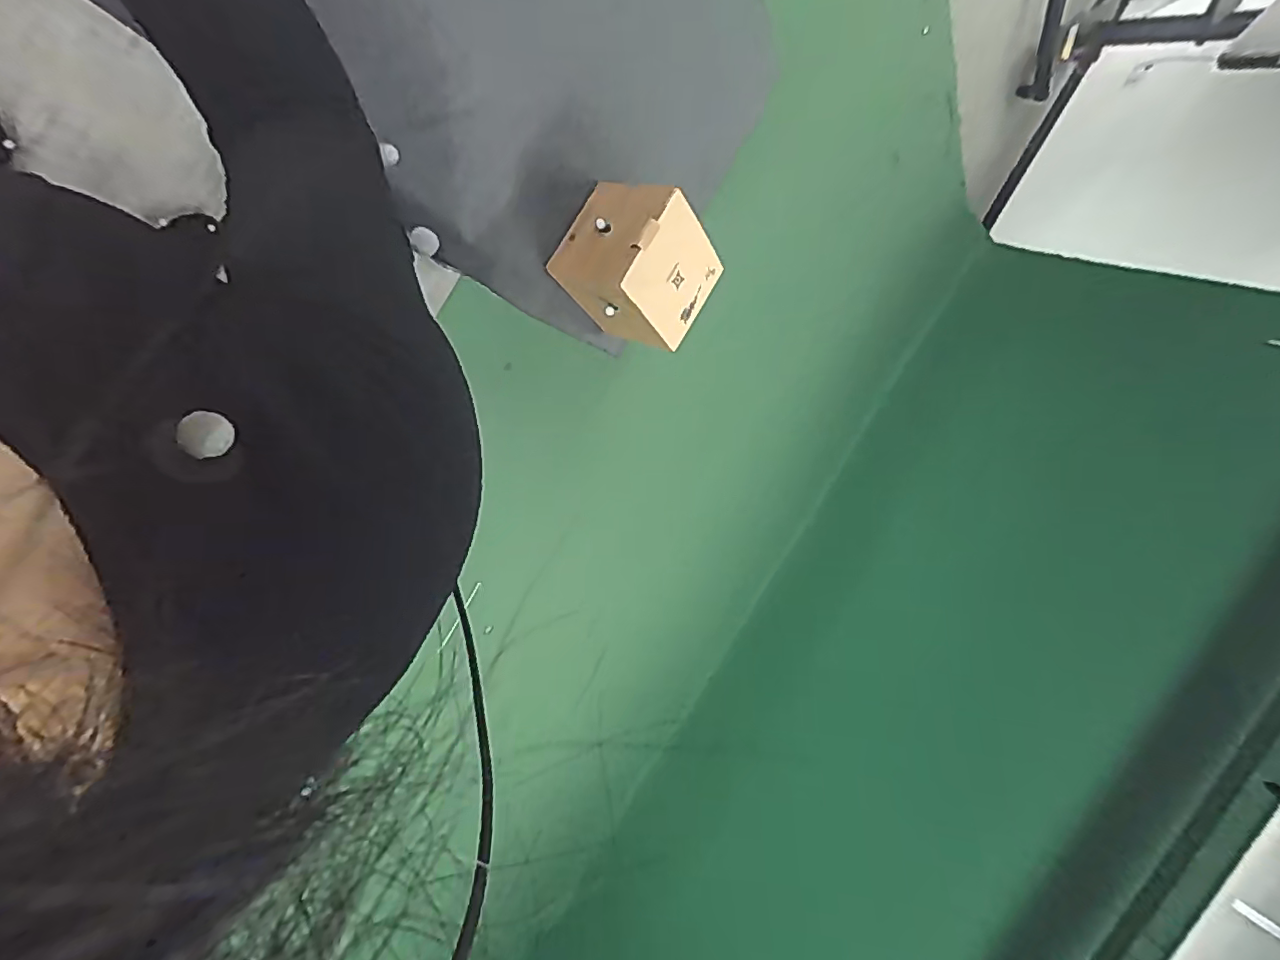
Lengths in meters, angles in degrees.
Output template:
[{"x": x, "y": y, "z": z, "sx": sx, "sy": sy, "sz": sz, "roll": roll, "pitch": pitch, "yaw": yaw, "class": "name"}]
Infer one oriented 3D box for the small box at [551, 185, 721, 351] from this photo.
[{"x": -0.008, "y": -0.333, "z": 0.853, "sx": 0.168, "sy": 0.176, "sz": 0.179, "roll": -59, "pitch": 142, "yaw": -4, "class": "small box"}]
